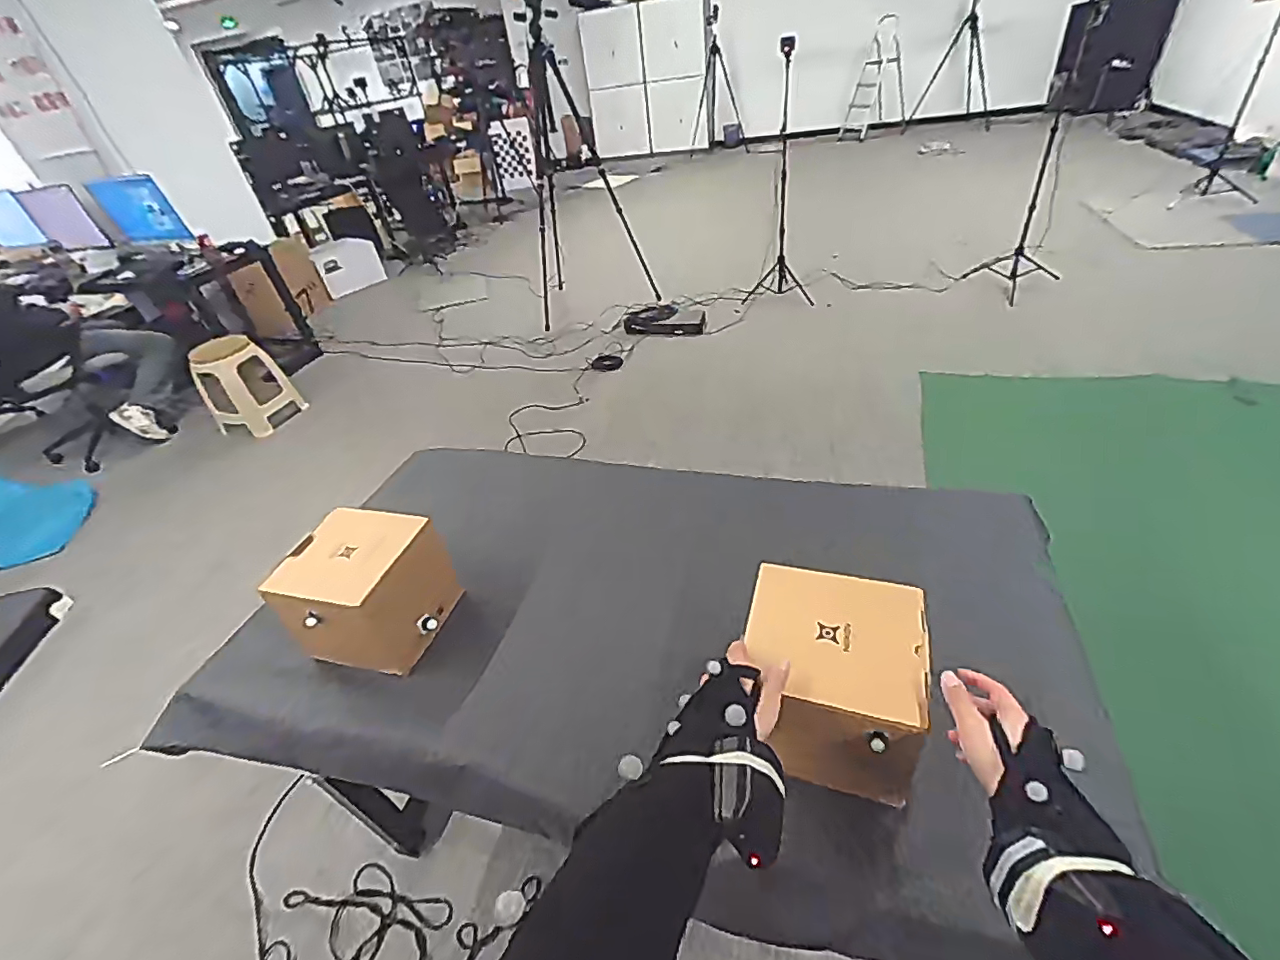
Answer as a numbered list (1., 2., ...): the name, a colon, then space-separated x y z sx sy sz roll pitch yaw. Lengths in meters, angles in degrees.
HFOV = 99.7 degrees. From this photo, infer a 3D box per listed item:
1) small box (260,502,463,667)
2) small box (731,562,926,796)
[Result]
1. small box: -0.400 0.155 0.808 0.179 0.176 0.168 6 42 16
2. small box: 0.207 0.219 0.605 0.179 0.176 0.168 7 41 20
